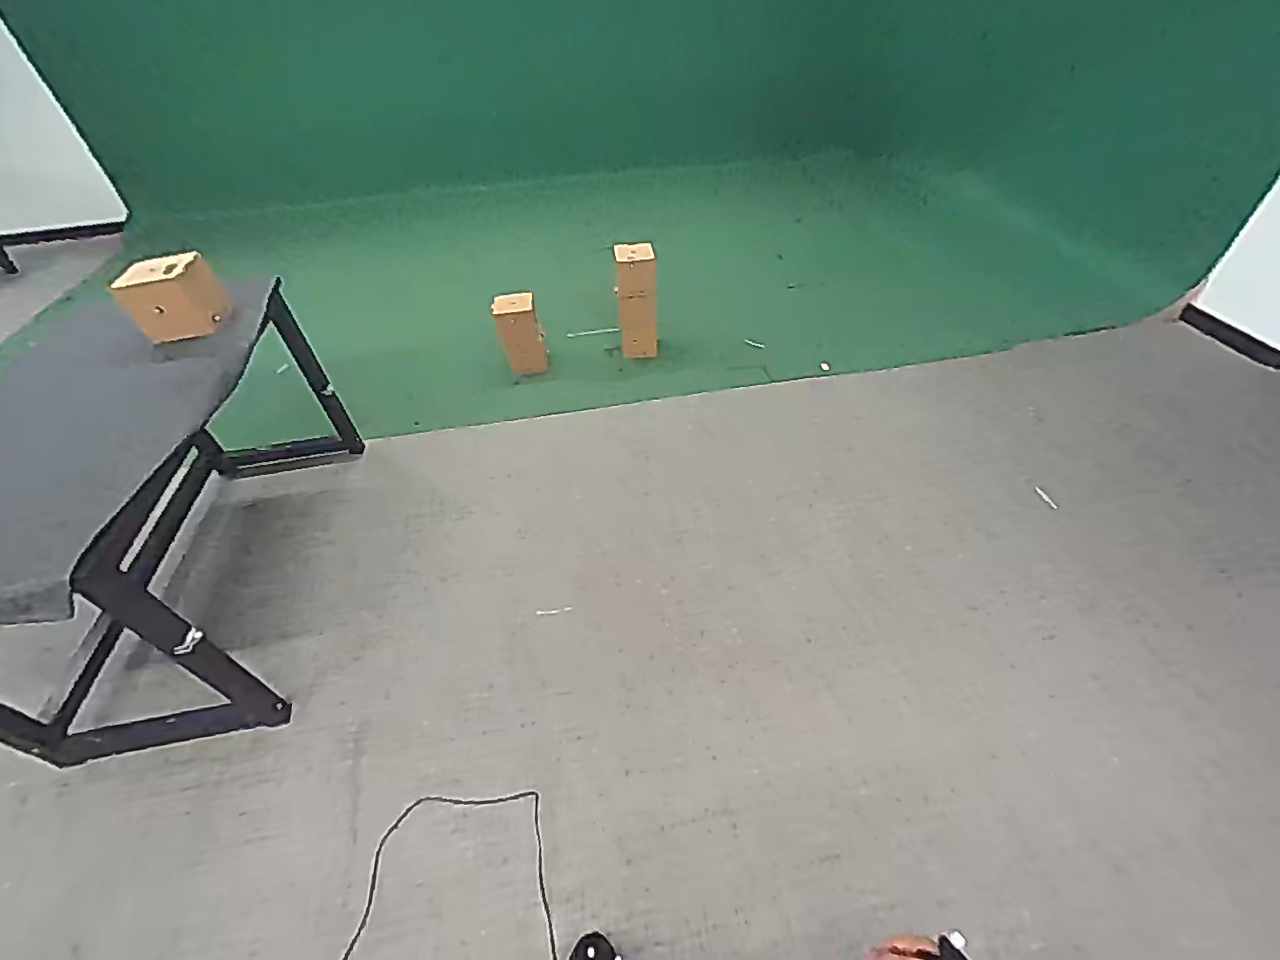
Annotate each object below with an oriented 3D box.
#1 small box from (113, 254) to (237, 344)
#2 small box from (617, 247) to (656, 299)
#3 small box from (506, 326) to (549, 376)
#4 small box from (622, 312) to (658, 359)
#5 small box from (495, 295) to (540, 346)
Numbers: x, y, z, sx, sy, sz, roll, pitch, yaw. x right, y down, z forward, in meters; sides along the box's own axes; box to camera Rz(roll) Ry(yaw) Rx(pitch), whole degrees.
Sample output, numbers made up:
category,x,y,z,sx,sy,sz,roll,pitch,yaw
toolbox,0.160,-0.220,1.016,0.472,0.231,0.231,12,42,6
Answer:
category,x,y,z,sx,sy,sz,roll,pitch,yaw
small box,-1.291,-0.507,1.520,0.179,0.176,0.168,-11,47,-3
small box,-0.018,-0.932,2.434,0.168,0.176,0.179,-5,44,-3
small box,-0.543,-0.622,2.617,0.179,0.176,0.168,-9,47,-5
small box,0.000,-0.709,2.676,0.168,0.176,0.179,-3,45,0
small box,-0.563,-0.733,2.500,0.179,0.176,0.168,-7,46,-4
